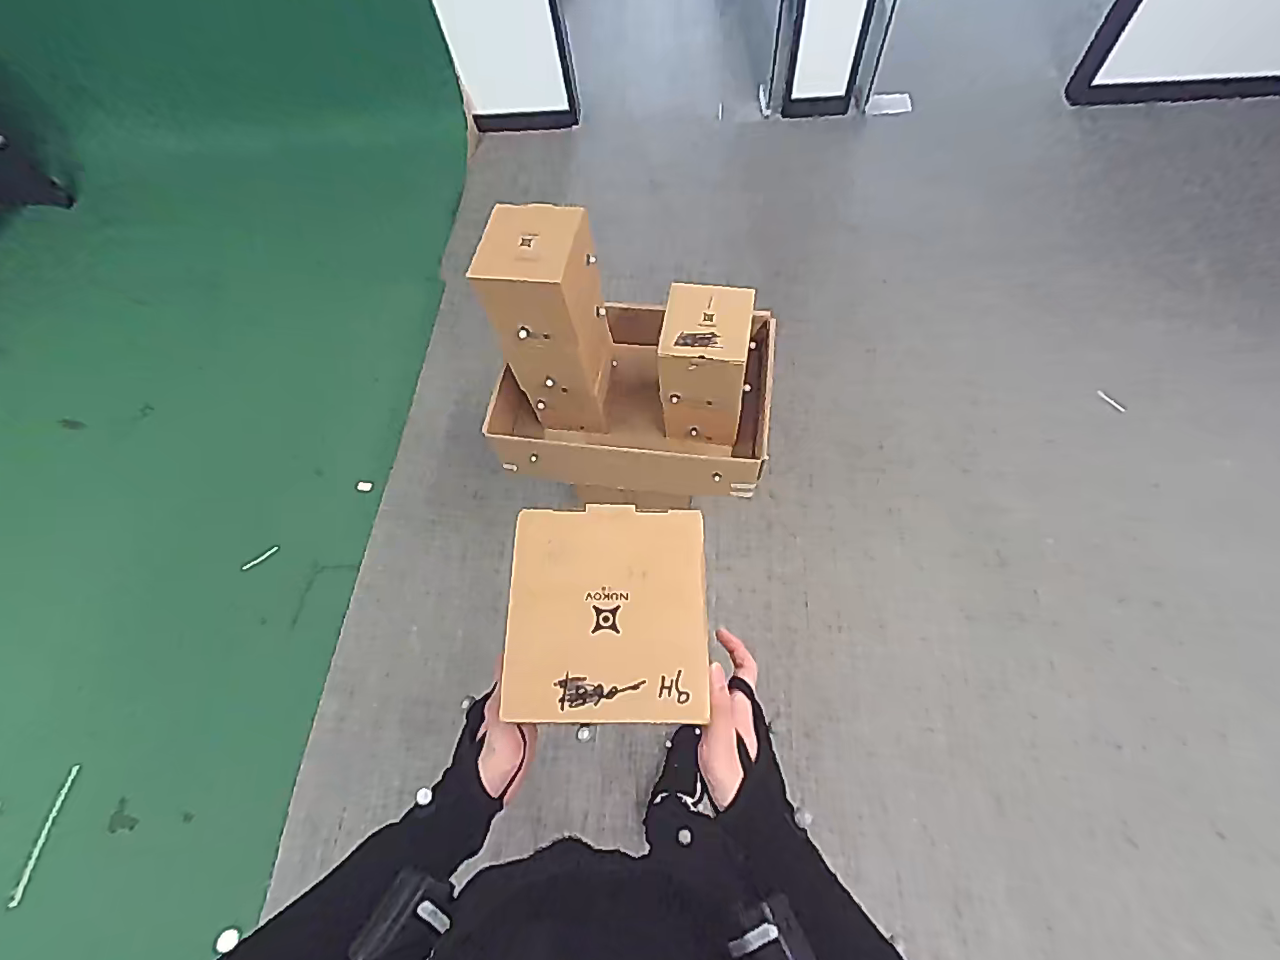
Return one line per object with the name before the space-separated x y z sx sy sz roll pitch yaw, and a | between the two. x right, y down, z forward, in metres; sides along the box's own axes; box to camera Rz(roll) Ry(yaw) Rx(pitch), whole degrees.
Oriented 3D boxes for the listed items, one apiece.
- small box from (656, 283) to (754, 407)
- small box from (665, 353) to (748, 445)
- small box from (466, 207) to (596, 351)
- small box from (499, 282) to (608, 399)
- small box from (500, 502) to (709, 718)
small box | 0.131 -0.264 1.081 0.168 0.176 0.179 7 67 9
small box | 0.151 -0.202 1.232 0.168 0.176 0.179 6 67 8
small box | -0.184 -0.361 0.979 0.168 0.176 0.179 6 66 10
small box | -0.169 -0.293 1.127 0.168 0.176 0.179 7 66 10
small box | -0.026 0.133 0.522 0.168 0.176 0.179 0 67 1
